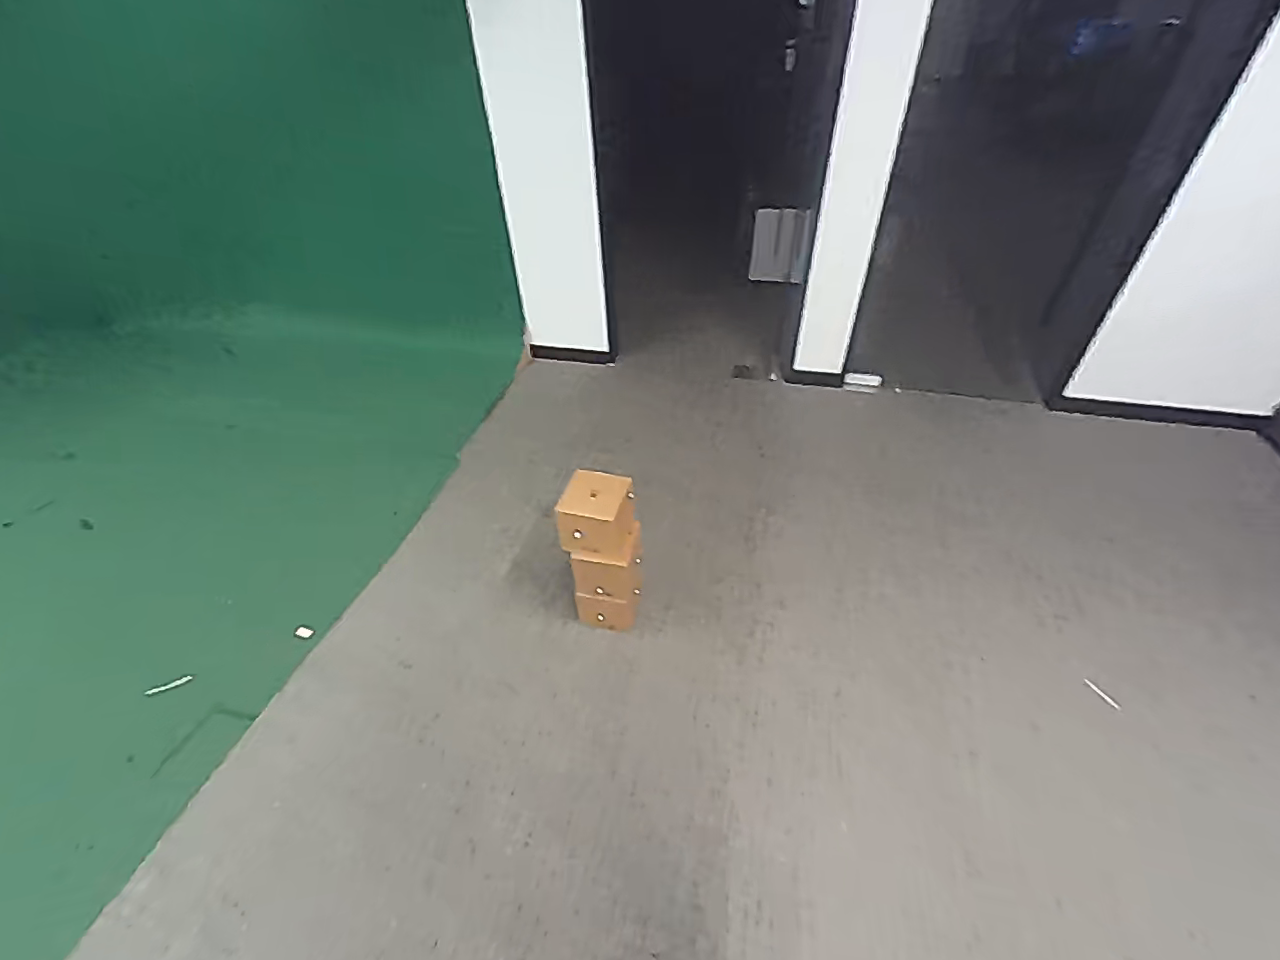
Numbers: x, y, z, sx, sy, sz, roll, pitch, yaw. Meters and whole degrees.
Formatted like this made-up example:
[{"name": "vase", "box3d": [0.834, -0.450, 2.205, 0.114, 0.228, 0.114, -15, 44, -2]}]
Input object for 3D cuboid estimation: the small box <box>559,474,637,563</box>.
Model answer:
[{"name": "small box", "box3d": [-0.109, 0.111, 1.530, 0.168, 0.176, 0.179, 9, 43, 14]}]
